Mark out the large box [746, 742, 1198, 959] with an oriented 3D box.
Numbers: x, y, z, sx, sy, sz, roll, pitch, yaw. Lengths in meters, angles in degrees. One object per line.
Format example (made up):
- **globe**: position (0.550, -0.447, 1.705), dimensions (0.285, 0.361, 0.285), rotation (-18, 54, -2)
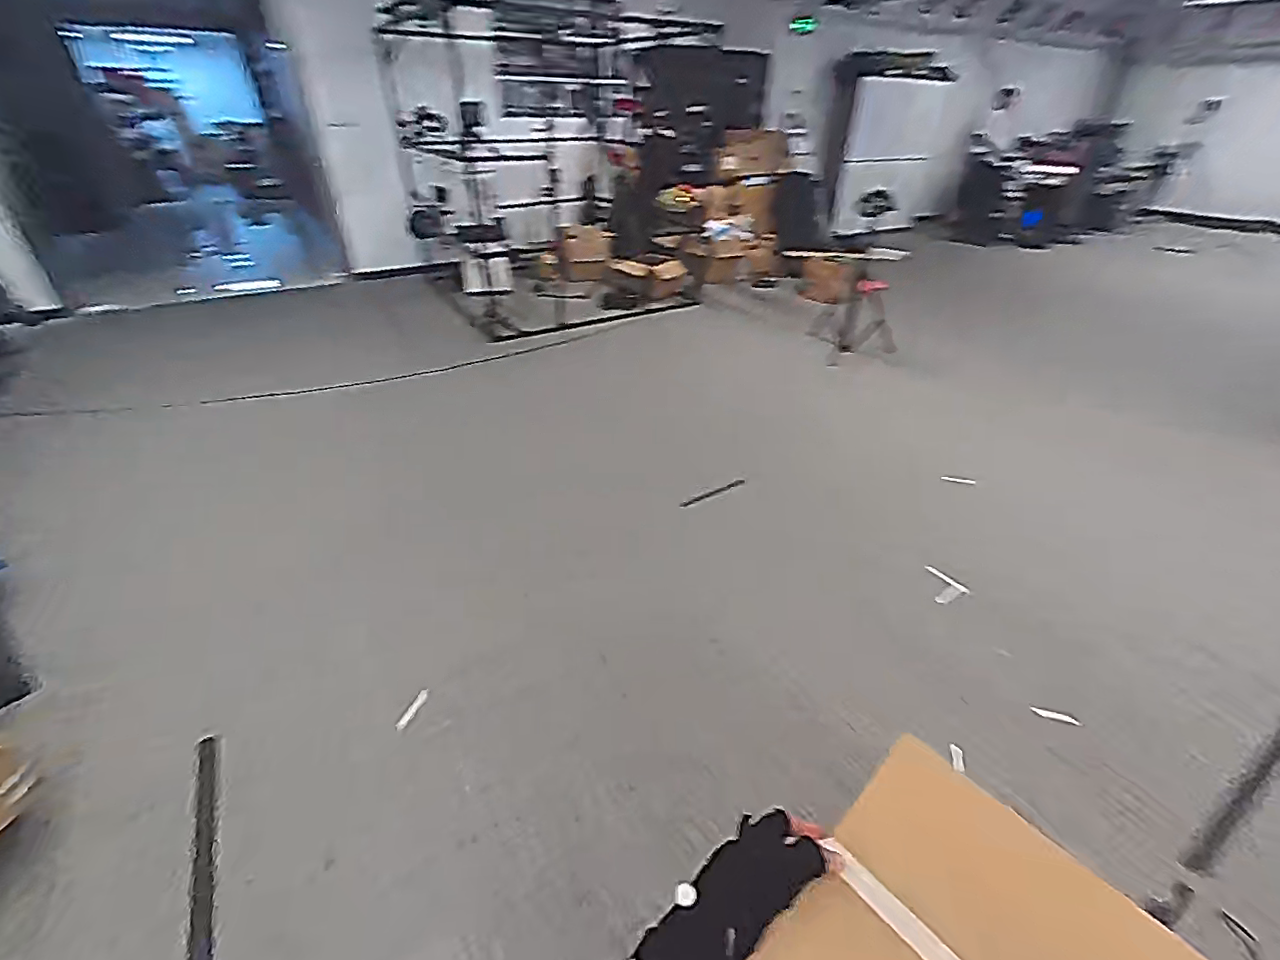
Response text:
- **large box**: position (0.296, 0.539, 0.466), dimensions (0.320, 0.320, 0.408), rotation (-29, 48, -33)
